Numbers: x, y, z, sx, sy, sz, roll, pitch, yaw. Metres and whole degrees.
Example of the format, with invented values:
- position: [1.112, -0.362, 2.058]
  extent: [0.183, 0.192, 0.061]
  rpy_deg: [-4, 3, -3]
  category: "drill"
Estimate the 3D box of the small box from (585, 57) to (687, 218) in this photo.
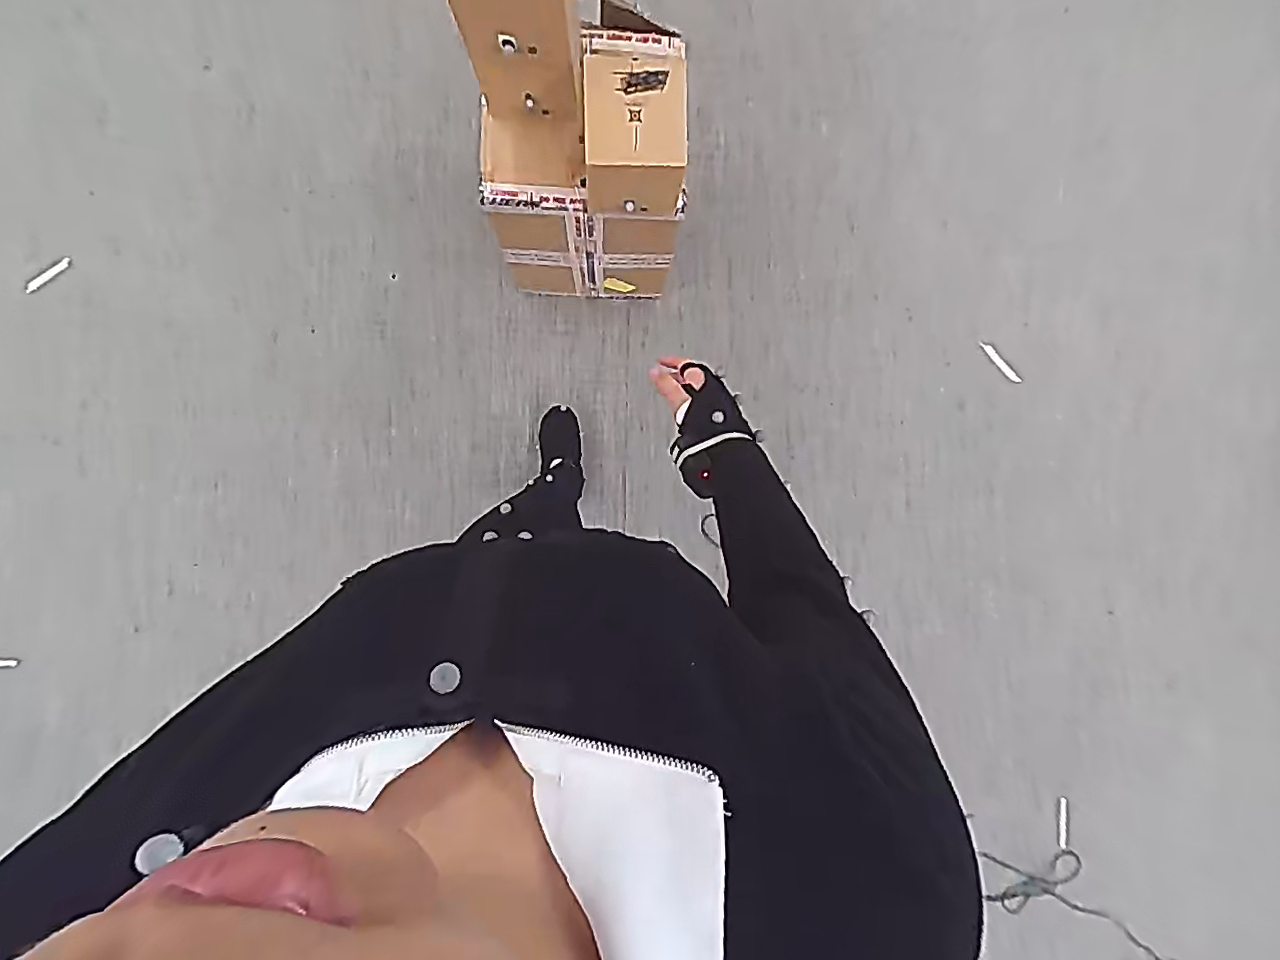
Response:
- position: [-0.012, -0.584, 0.941]
  extent: [0.168, 0.176, 0.179]
  rpy_deg: [-1, 92, -4]
  category: "small box"

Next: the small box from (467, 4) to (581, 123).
- position: [-0.192, -0.759, 0.930]
  extent: [0.168, 0.176, 0.179]
  rpy_deg: [1, 91, -2]
  category: "small box"

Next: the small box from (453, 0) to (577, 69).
- position: [-0.180, -0.736, 0.768]
  extent: [0.168, 0.176, 0.179]
  rpy_deg: [0, 92, -1]
  category: "small box"
